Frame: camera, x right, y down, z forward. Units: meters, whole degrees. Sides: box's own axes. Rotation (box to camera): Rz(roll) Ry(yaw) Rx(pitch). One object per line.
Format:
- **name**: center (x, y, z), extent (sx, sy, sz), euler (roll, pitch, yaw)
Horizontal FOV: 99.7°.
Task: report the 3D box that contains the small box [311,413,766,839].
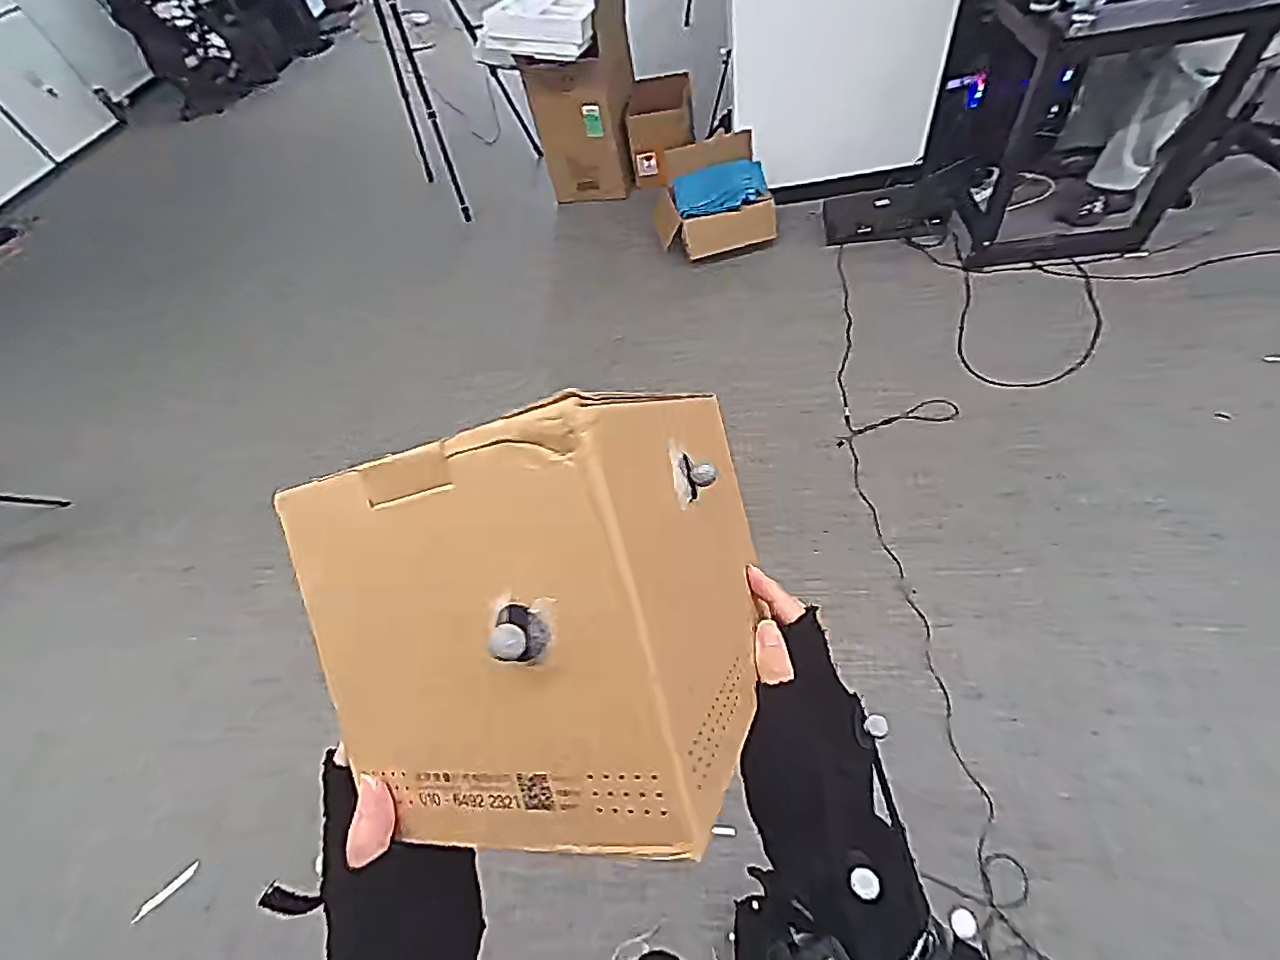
- **small box**: center (-0.036, 0.067, 0.308), extent (0.168, 0.179, 0.176), euler (-13, 92, 23)
